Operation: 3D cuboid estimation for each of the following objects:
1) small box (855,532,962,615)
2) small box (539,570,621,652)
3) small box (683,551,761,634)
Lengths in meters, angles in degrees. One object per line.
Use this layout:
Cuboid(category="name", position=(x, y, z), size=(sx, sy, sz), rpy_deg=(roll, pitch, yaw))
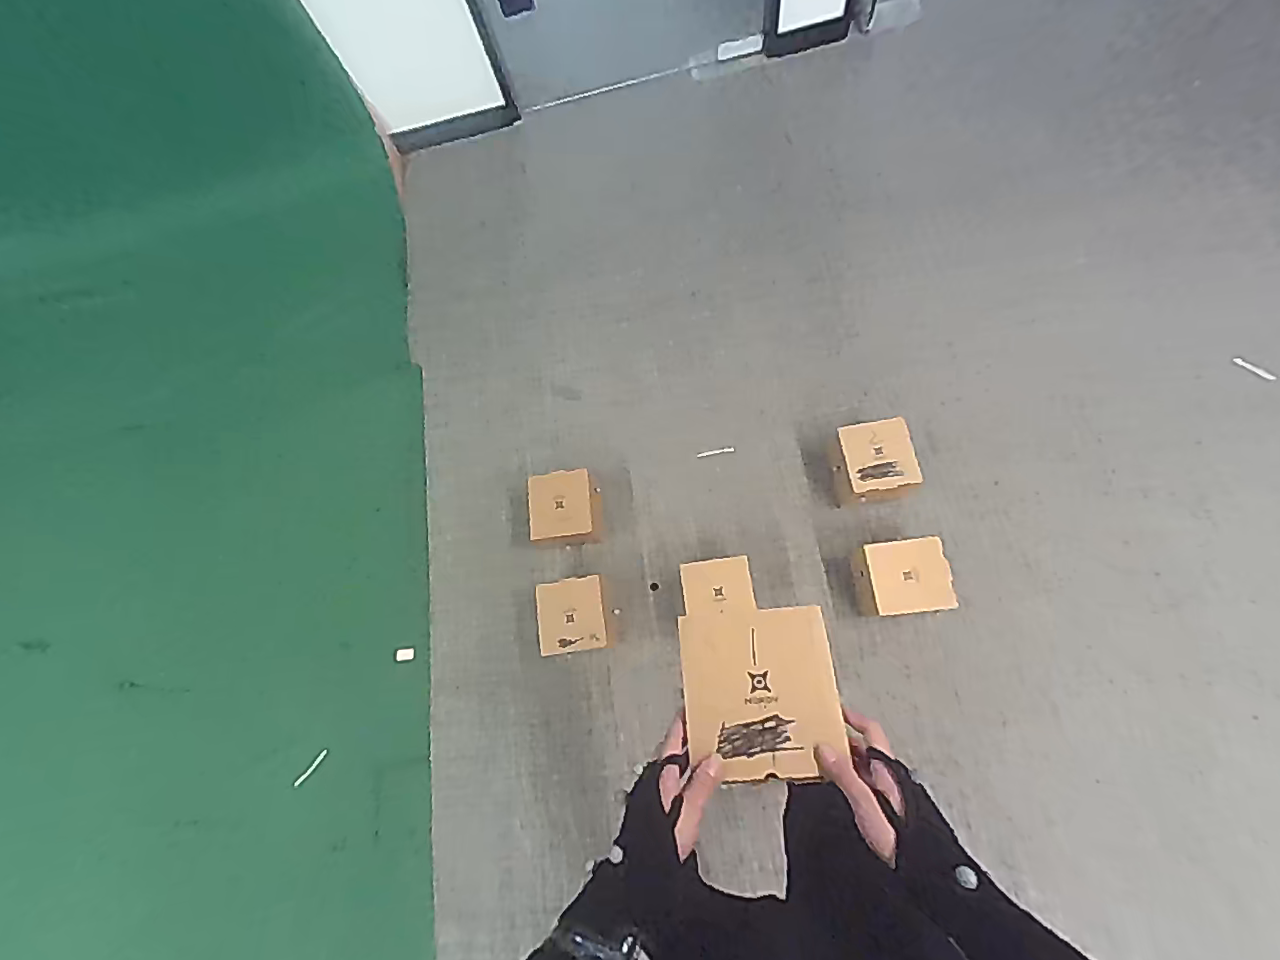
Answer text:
Cuboid(category="small box", position=(0.630, 0.230, 1.296), size=(0.179, 0.176, 0.168), rpy_deg=(-8, 73, 6))
Cuboid(category="small box", position=(-0.151, 0.340, 1.383), size=(0.168, 0.176, 0.179), rpy_deg=(-10, 71, 7))
Cuboid(category="small box", position=(0.201, 0.285, 1.344), size=(0.168, 0.176, 0.179), rpy_deg=(-9, 73, 7))
